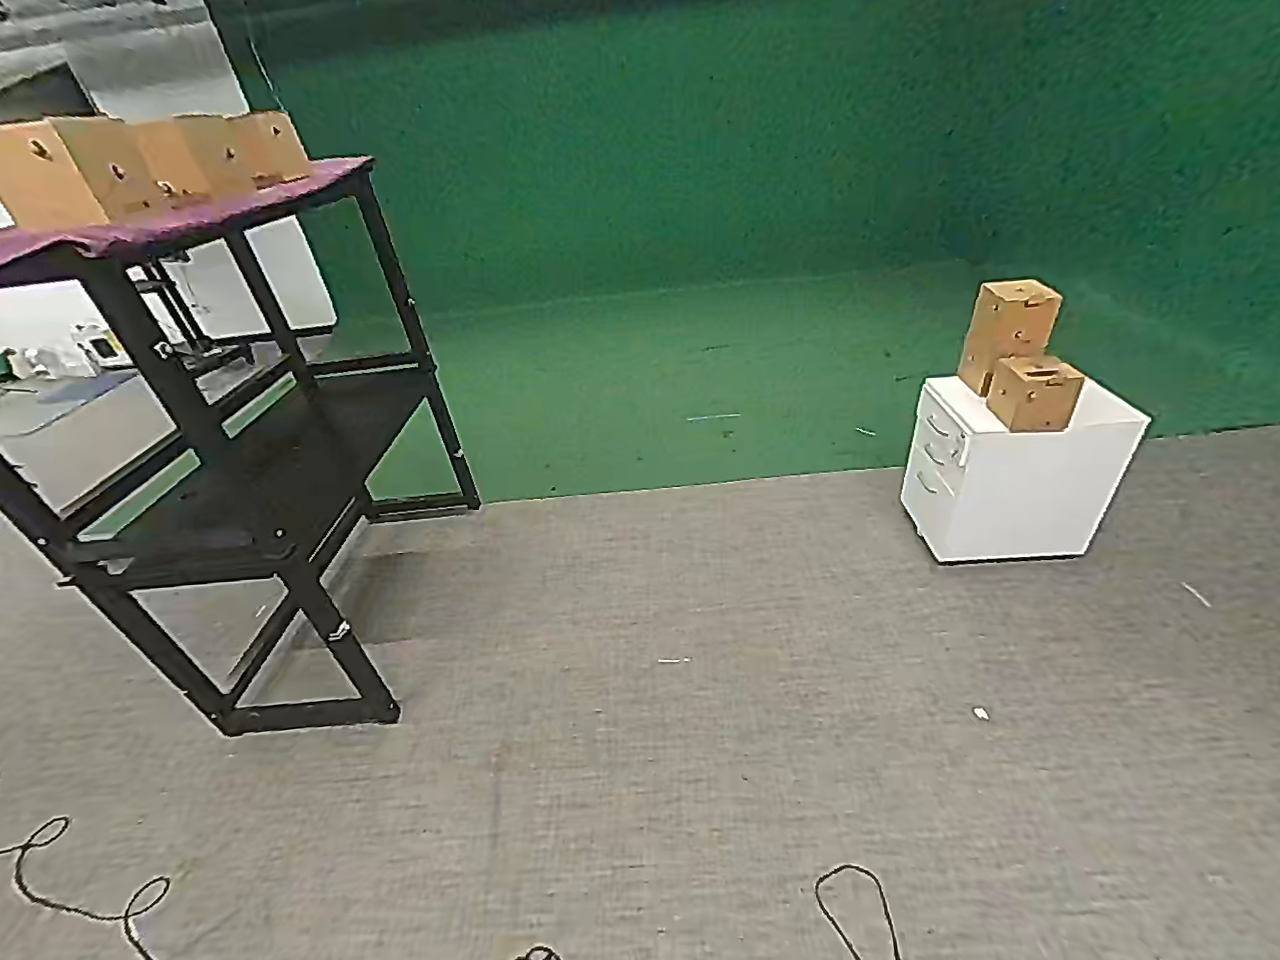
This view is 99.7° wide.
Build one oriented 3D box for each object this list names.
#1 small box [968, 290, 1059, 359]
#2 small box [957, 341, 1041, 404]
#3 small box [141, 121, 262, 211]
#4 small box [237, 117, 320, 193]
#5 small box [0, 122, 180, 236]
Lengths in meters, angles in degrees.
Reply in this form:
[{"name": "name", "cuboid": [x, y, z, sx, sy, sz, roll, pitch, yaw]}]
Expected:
[{"name": "small box", "cuboid": [1.221, -0.513, 1.785, 0.168, 0.176, 0.179, -3, 37, 6]}, {"name": "small box", "cuboid": [1.235, -0.379, 1.878, 0.168, 0.176, 0.179, -4, 35, 4]}, {"name": "small box", "cuboid": [-1.058, -0.753, 1.300, 0.168, 0.176, 0.179, -6, 35, 3]}, {"name": "small box", "cuboid": [-1.084, -0.949, 1.587, 0.168, 0.176, 0.179, -6, 34, 6]}, {"name": "small box", "cuboid": [-1.049, -0.576, 1.032, 0.179, 0.176, 0.168, -5, 33, 2]}]
